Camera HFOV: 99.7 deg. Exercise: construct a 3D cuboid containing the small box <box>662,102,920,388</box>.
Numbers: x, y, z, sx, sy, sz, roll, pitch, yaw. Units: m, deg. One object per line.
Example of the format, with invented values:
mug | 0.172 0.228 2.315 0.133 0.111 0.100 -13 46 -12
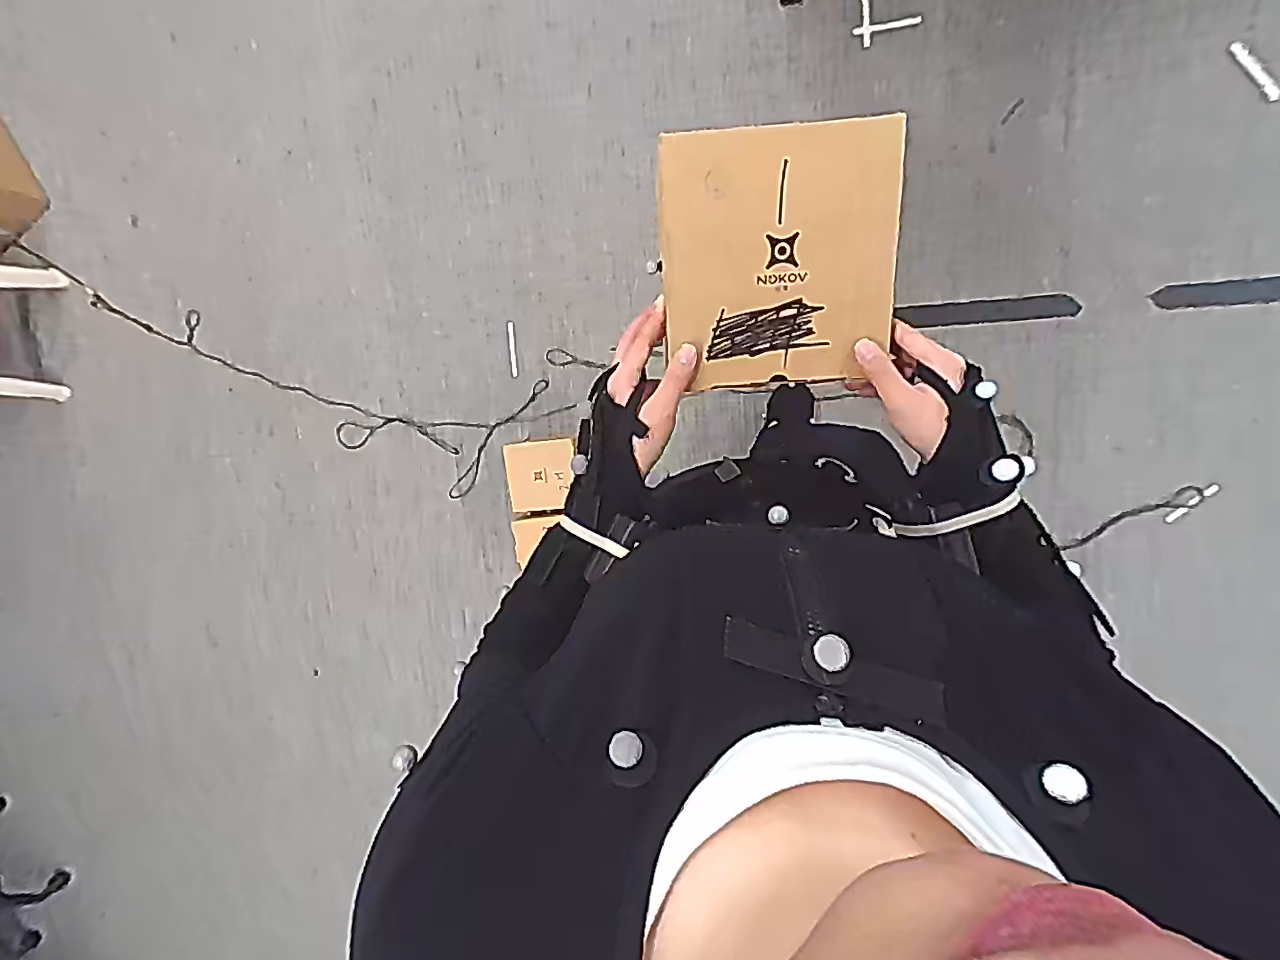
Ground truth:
small box | 0.104 -0.181 0.449 0.168 0.176 0.179 -3 108 2
